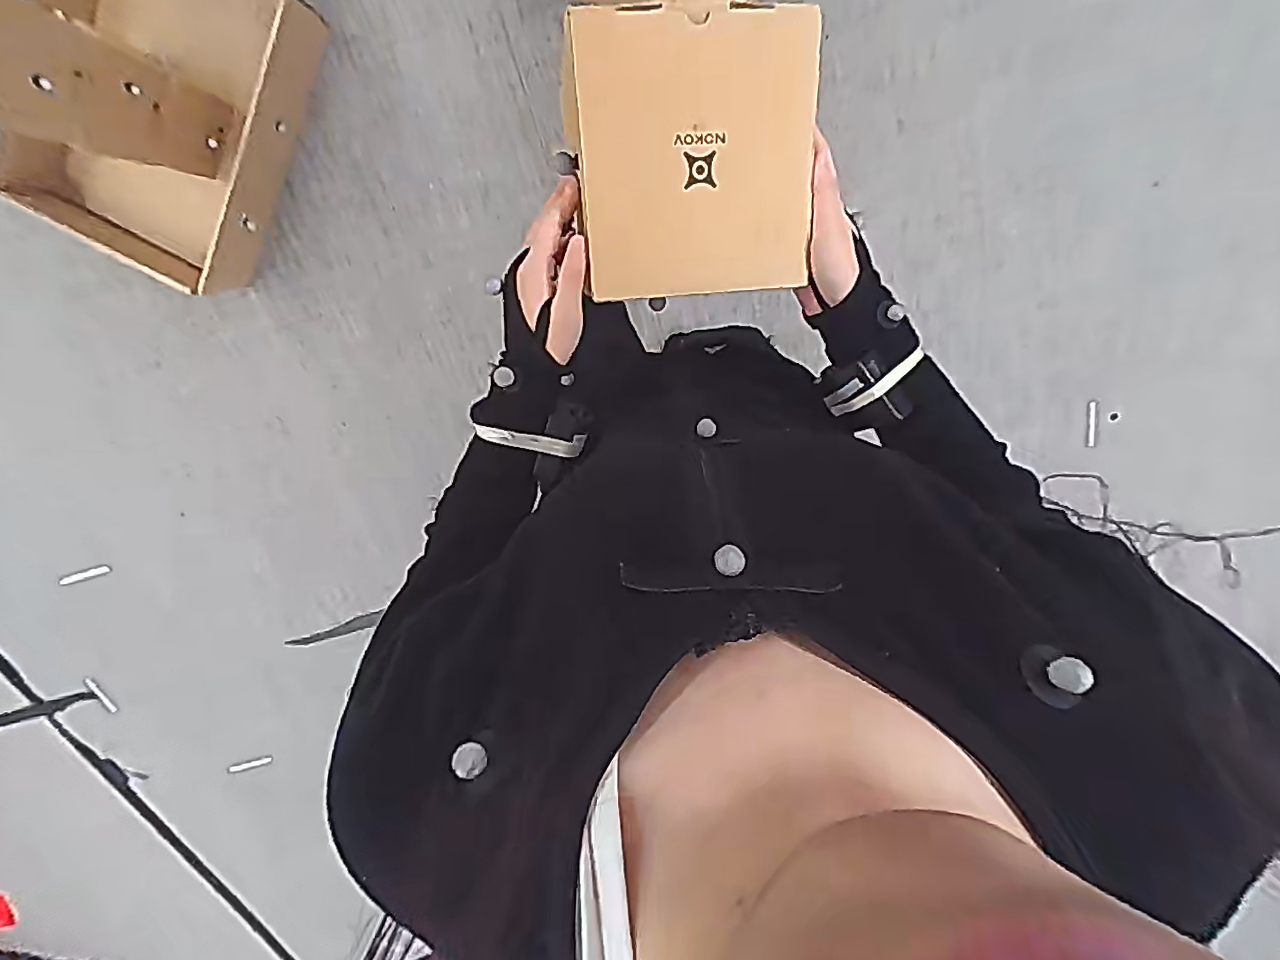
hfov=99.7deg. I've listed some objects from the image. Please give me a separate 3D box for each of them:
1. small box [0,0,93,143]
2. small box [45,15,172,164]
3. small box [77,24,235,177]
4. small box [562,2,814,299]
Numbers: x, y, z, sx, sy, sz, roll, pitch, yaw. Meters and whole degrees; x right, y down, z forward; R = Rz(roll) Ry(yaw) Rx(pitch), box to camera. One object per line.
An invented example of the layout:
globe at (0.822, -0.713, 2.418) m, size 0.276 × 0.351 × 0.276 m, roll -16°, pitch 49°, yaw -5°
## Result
small box at (-0.940, -0.607, 0.761) m, size 0.179 × 0.176 × 0.168 m, roll 23°, pitch 107°, yaw -12°
small box at (-0.954, -0.664, 0.916) m, size 0.179 × 0.176 × 0.168 m, roll 23°, pitch 107°, yaw -11°
small box at (-0.958, -0.727, 1.065) m, size 0.179 × 0.176 × 0.168 m, roll 27°, pitch 108°, yaw -14°
small box at (0.026, -0.251, 0.448) m, size 0.168 × 0.176 × 0.179 m, roll -6°, pitch 111°, yaw -7°
